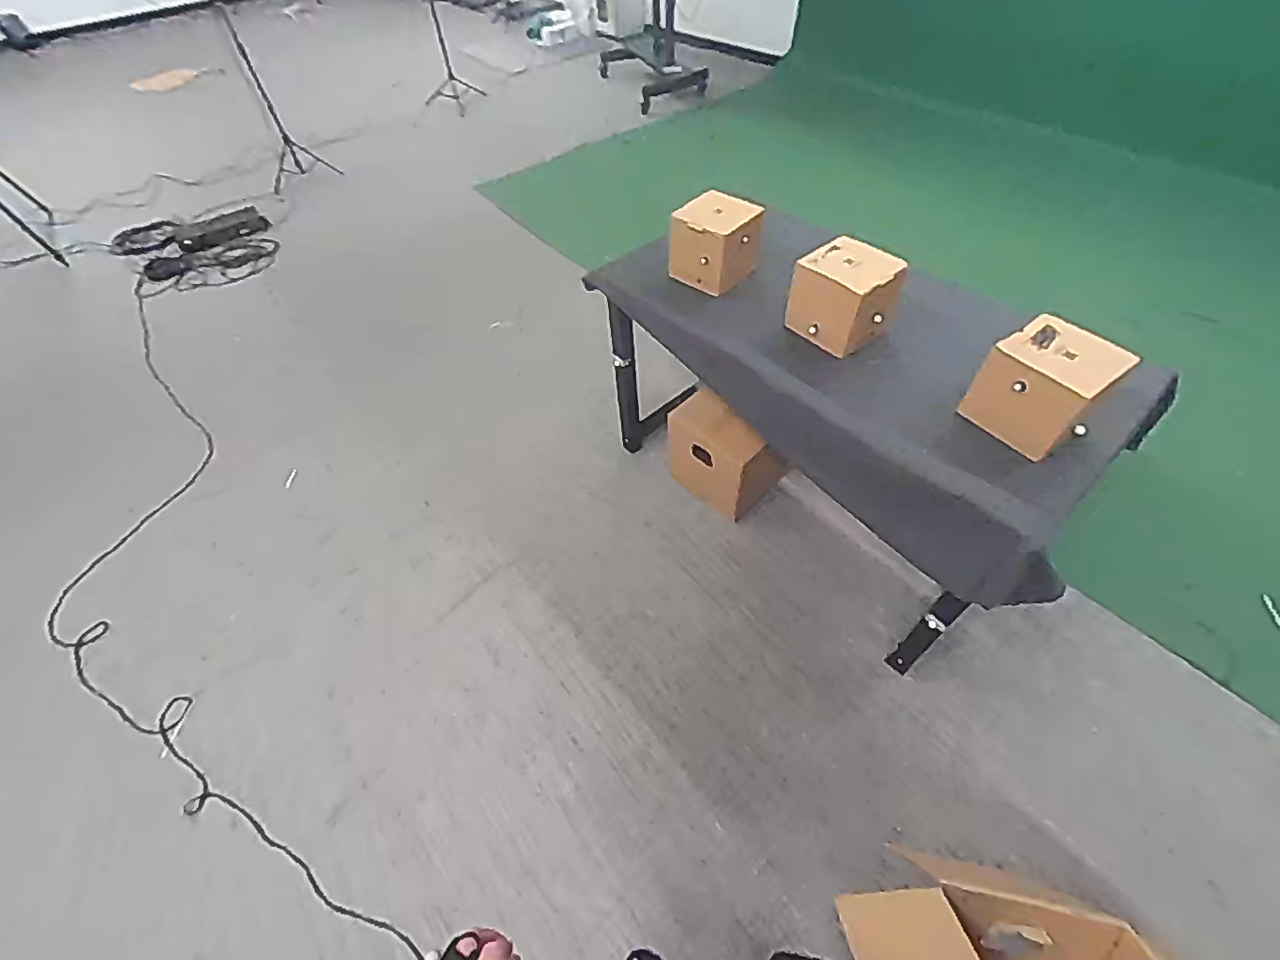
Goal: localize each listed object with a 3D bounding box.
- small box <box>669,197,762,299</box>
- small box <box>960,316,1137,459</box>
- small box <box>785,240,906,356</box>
[{"bbox_3d":[0.190,-0.598,1.399,0.168,0.176,0.179,34,59,24],"label":"small box"},{"bbox_3d":[0.753,-0.172,1.020,0.168,0.176,0.179,-30,56,-19],"label":"small box"},{"bbox_3d":[0.458,-0.407,1.230,0.168,0.176,0.179,-34,58,-21],"label":"small box"}]
